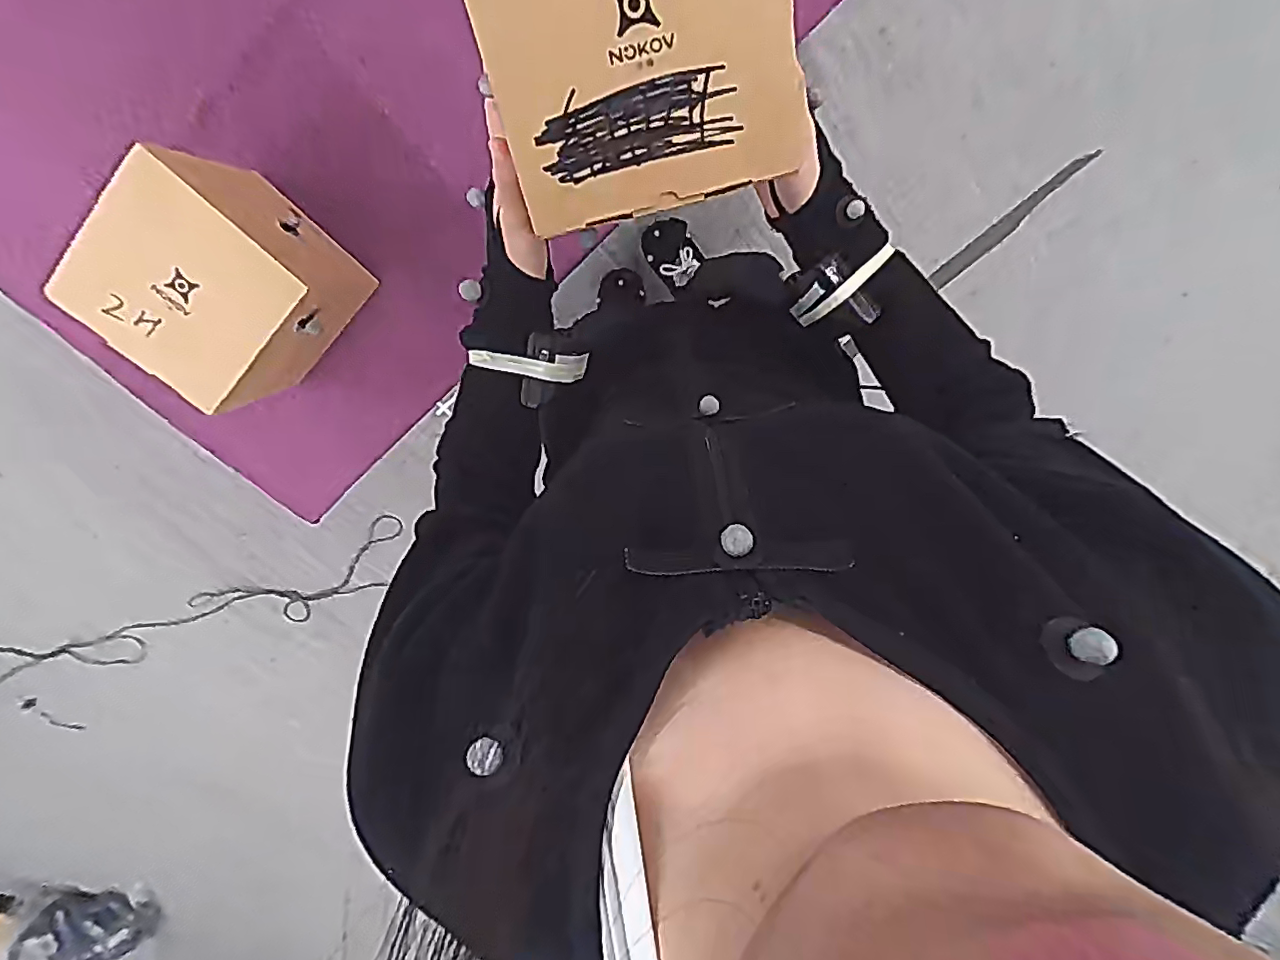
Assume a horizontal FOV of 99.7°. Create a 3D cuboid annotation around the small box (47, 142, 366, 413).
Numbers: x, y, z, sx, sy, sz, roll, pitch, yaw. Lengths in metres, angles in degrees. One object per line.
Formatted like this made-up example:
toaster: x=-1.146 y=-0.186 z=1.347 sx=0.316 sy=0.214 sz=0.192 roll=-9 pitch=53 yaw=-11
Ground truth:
small box: x=-0.422 y=-0.204 z=0.565 sx=0.179 sy=0.176 sz=0.168 roll=-43 pitch=107 yaw=13
